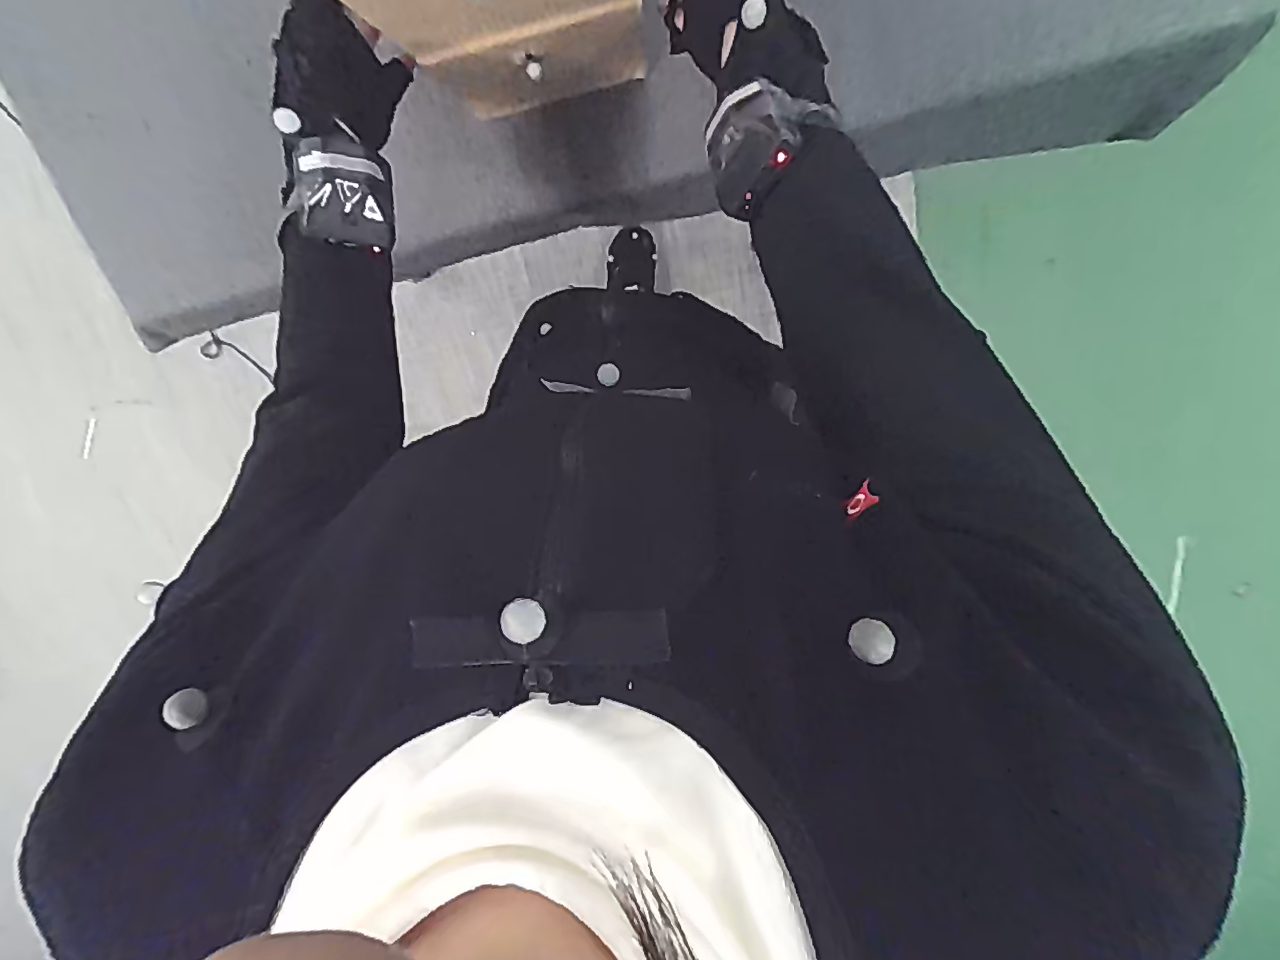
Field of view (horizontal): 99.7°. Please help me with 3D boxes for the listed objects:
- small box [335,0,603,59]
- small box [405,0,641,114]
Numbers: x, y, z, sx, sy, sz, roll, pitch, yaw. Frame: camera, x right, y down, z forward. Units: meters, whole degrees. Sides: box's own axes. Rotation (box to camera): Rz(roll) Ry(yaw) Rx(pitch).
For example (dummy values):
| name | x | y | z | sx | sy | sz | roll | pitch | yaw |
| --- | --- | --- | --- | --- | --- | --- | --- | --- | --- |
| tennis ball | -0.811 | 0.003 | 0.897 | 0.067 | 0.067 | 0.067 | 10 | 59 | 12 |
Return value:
| name | x | y | z | sx | sy | sz | roll | pitch | yaw |
| --- | --- | --- | --- | --- | --- | --- | --- | --- | --- |
| small box | -0.104 | -0.367 | 0.288 | 0.179 | 0.176 | 0.168 | -12 | 112 | 7 |
| small box | -0.101 | -0.427 | 0.440 | 0.179 | 0.176 | 0.168 | -11 | 112 | 6 |
